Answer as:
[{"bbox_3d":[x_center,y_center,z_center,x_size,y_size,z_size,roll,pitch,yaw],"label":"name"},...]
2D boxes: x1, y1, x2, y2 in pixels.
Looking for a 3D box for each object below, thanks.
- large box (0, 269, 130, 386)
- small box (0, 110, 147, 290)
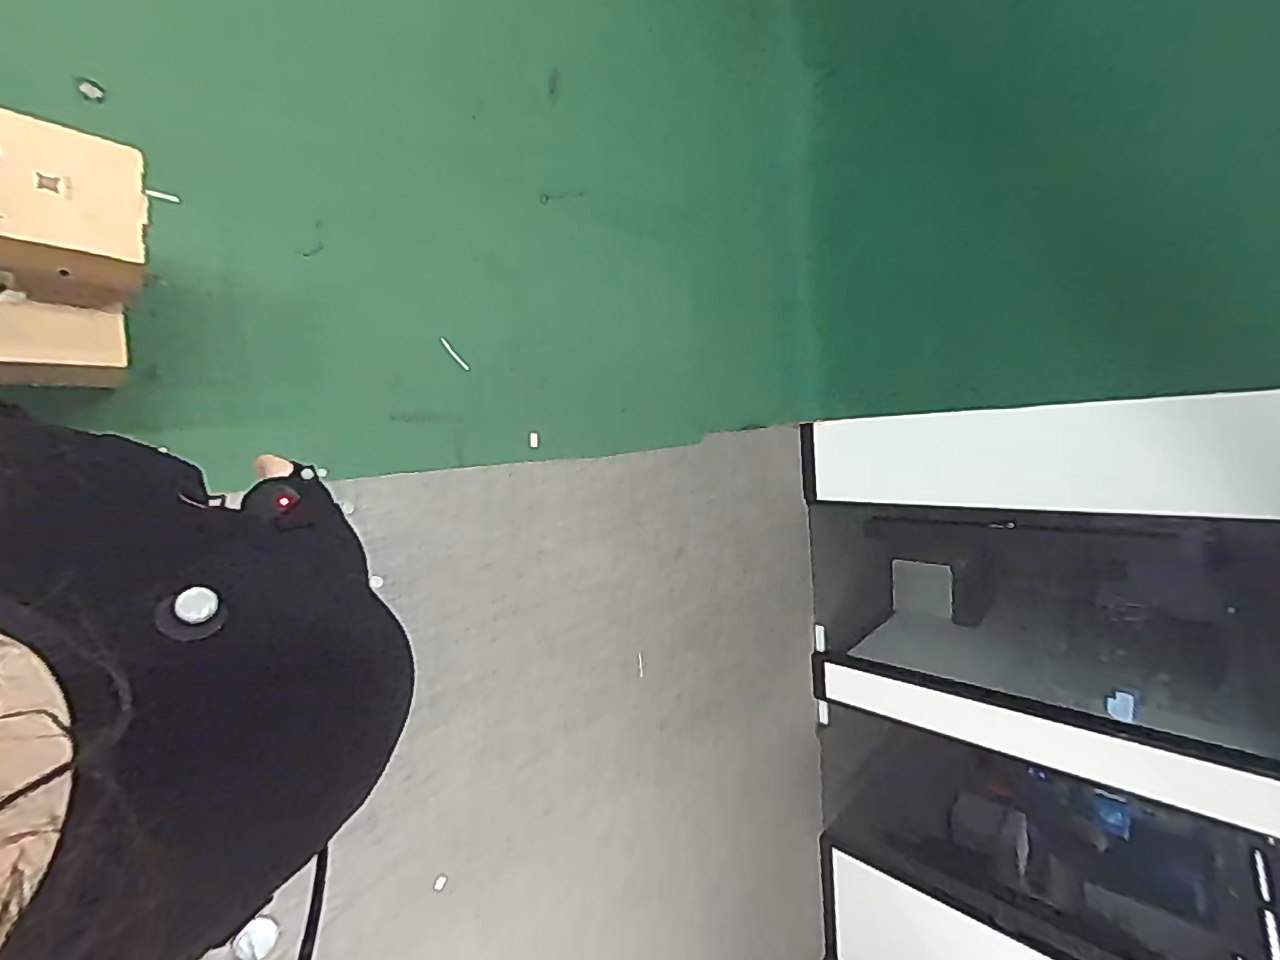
[{"bbox_3d":[-1.105,-0.321,0.850,0.408,0.320,0.320,-7,97,-46],"label":"large box"},{"bbox_3d":[-0.833,-0.387,0.776,0.179,0.176,0.168,0,90,-45],"label":"small box"}]
